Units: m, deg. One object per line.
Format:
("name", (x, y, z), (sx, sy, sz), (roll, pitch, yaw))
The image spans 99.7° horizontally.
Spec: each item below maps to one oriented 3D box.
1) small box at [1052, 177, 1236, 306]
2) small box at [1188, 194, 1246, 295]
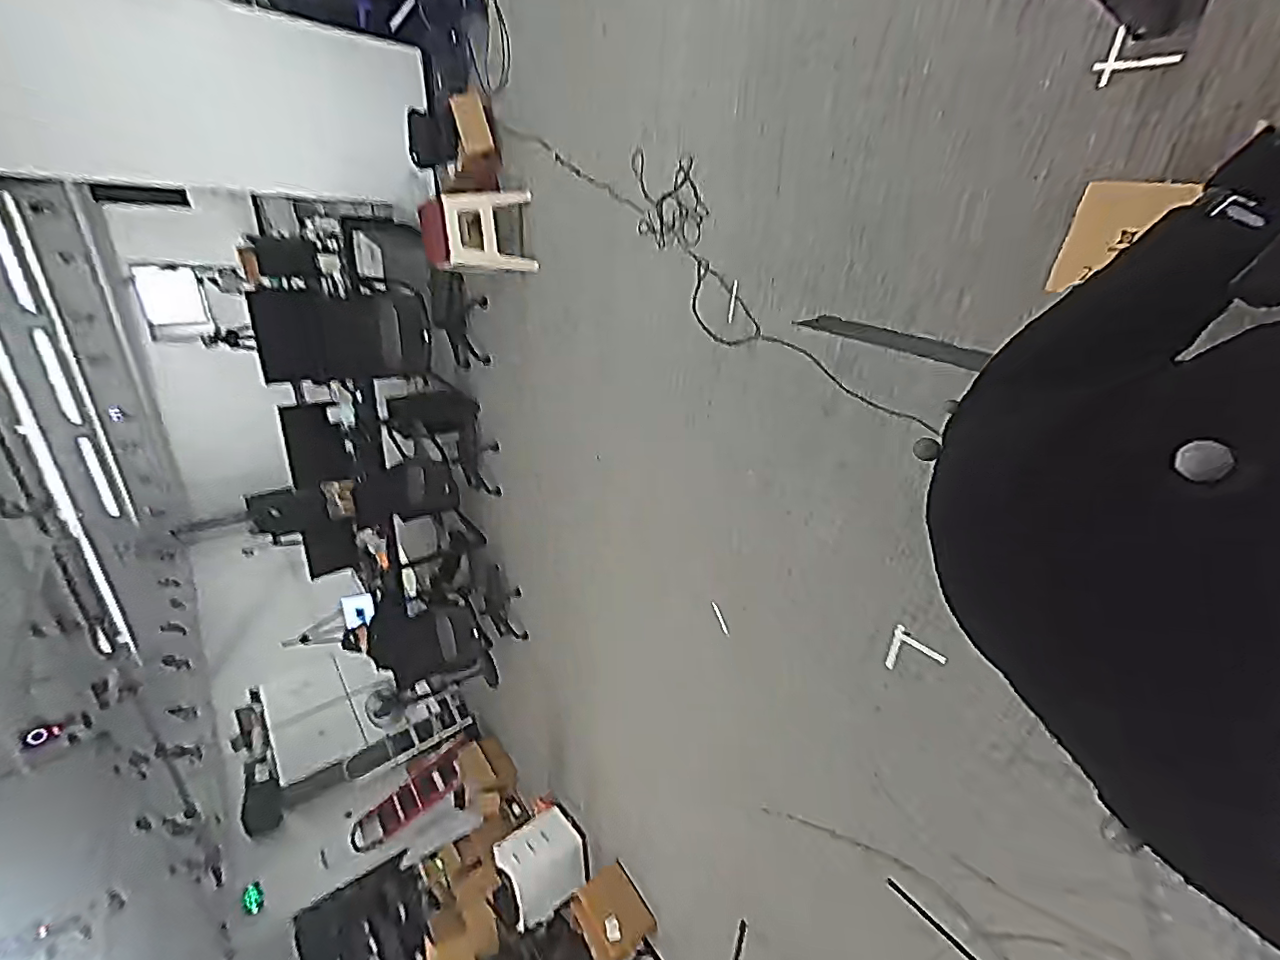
("small box", (0.845, -0.400, 0.909), (0.168, 0.176, 0.179), (33, 128, 42))
("small box", (0.968, -0.444, 1.009), (0.168, 0.176, 0.179), (38, 131, 39))
